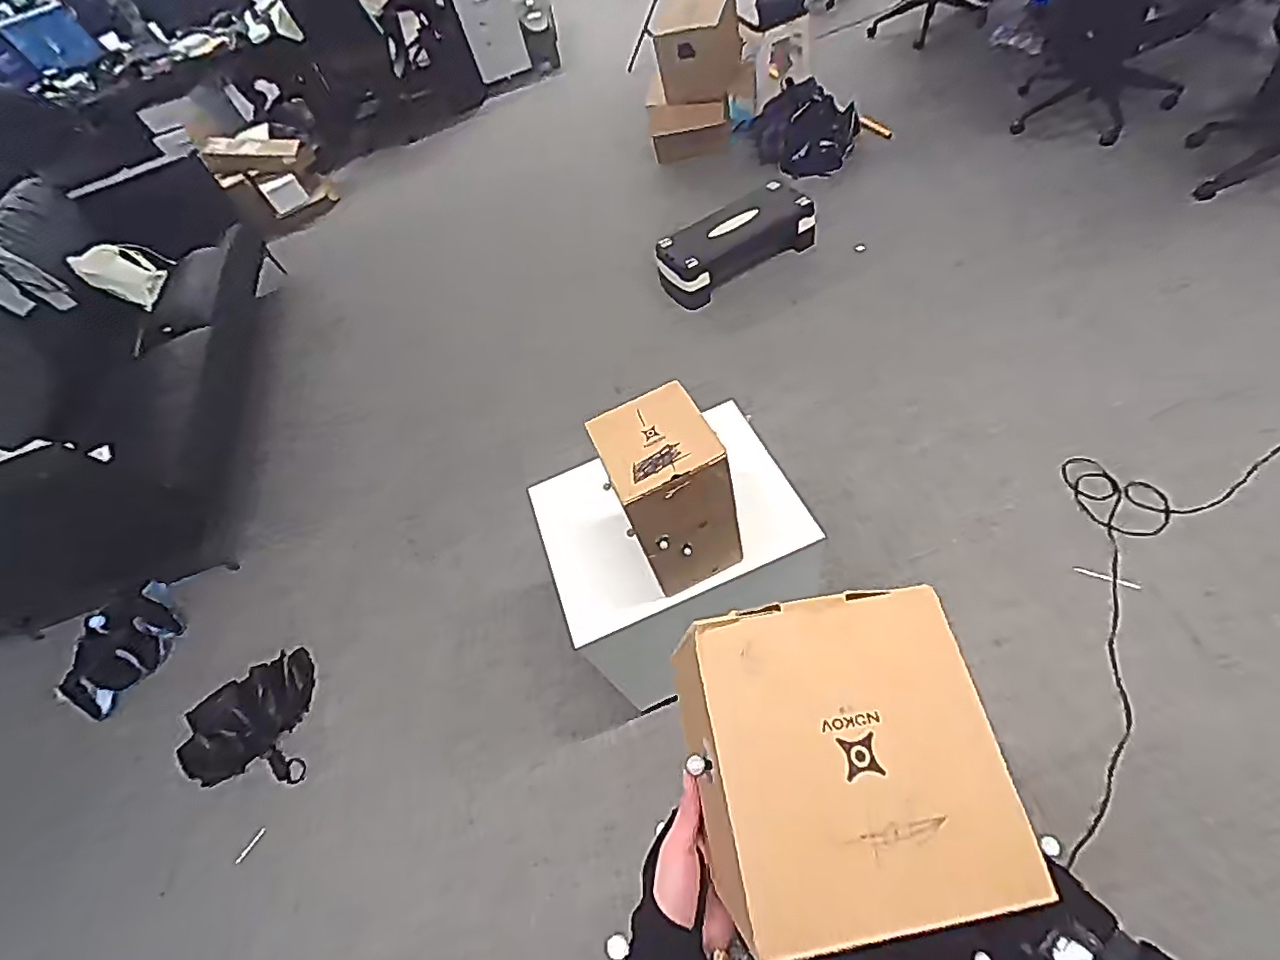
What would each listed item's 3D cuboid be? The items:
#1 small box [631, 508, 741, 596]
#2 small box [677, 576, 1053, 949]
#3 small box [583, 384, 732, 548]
[{"bbox_3d":[0.070,0.080,0.993,0.168,0.176,0.179,-27,52,-4],"label":"small box"},{"bbox_3d":[0.126,0.186,0.389,0.168,0.176,0.179,-9,65,-5],"label":"small box"},{"bbox_3d":[0.033,-0.013,0.863,0.168,0.176,0.179,-26,52,-4],"label":"small box"}]
